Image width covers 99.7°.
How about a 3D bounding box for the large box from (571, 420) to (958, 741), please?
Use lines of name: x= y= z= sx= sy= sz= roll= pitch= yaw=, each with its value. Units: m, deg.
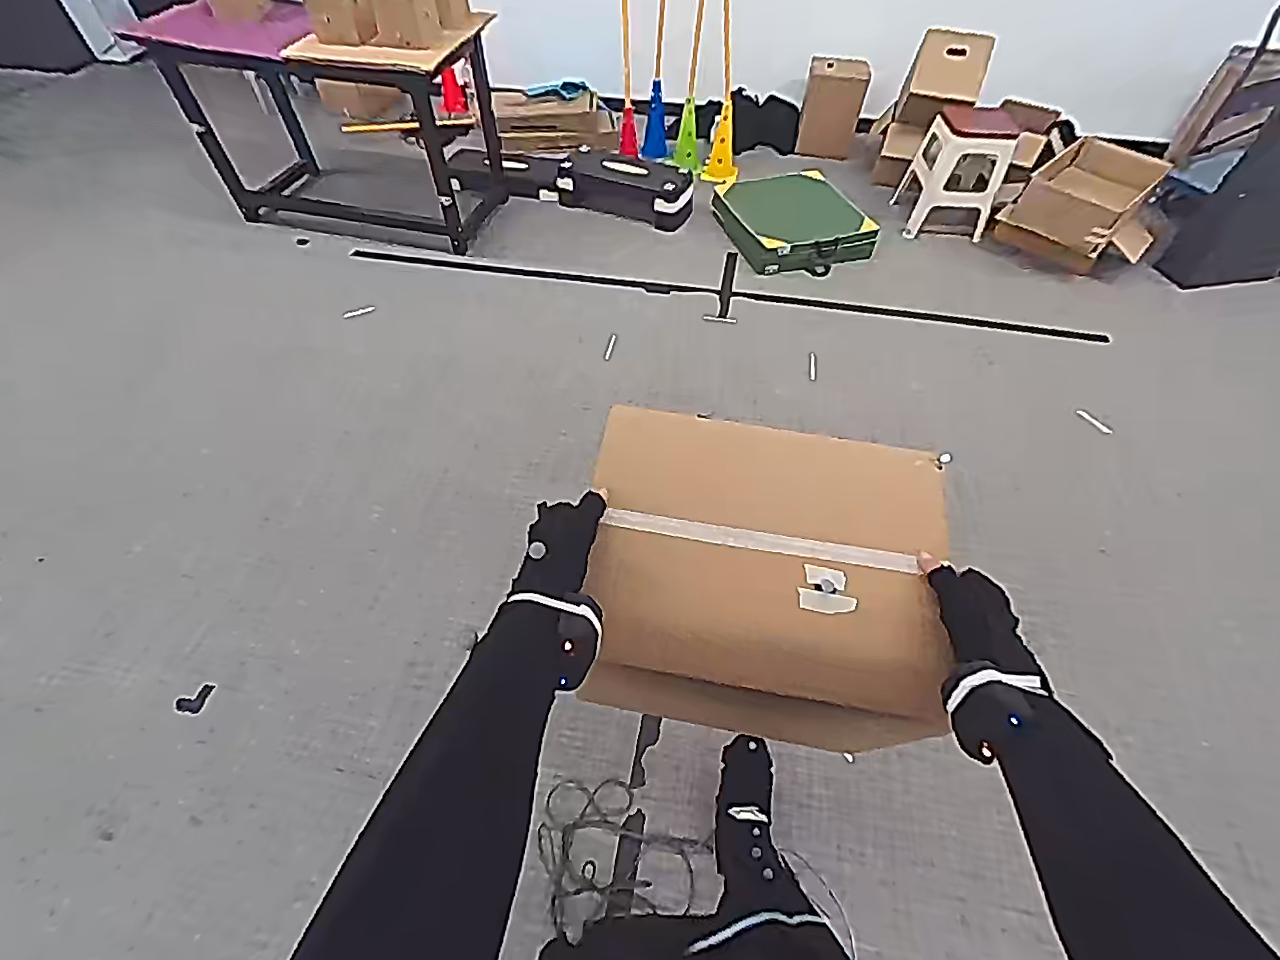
large box: x=0.139 y=0.152 z=0.748 sx=0.408 sy=0.320 sz=0.320 roll=9 pitch=61 yaw=3
